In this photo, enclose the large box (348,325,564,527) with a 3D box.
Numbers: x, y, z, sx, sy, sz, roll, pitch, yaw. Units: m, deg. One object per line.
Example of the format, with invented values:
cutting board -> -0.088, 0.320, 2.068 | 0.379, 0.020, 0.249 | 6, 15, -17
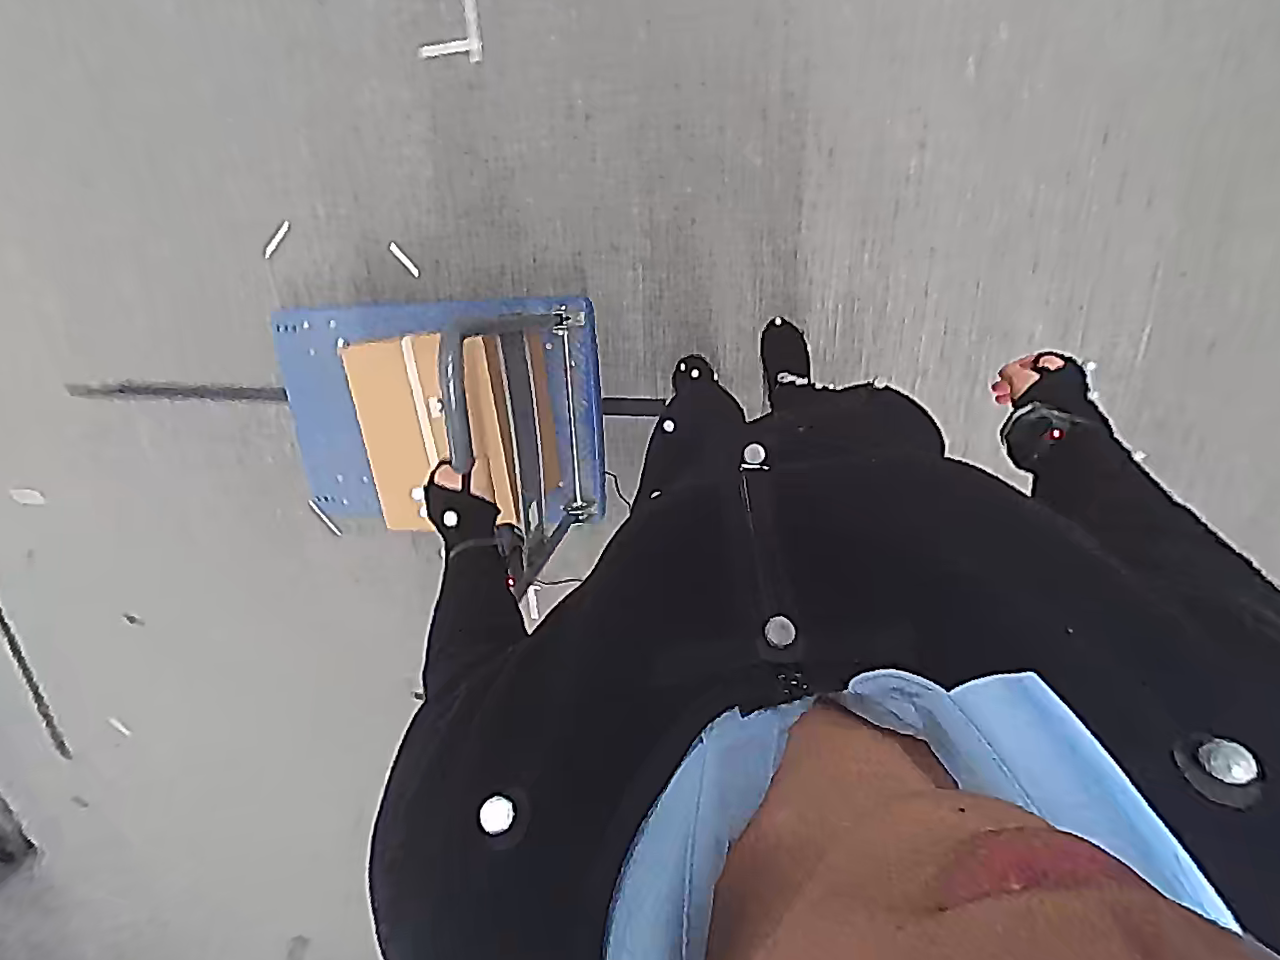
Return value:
large box -> -0.391, -0.133, 1.249 | 0.320, 0.320, 0.408 | -3, 106, 11
